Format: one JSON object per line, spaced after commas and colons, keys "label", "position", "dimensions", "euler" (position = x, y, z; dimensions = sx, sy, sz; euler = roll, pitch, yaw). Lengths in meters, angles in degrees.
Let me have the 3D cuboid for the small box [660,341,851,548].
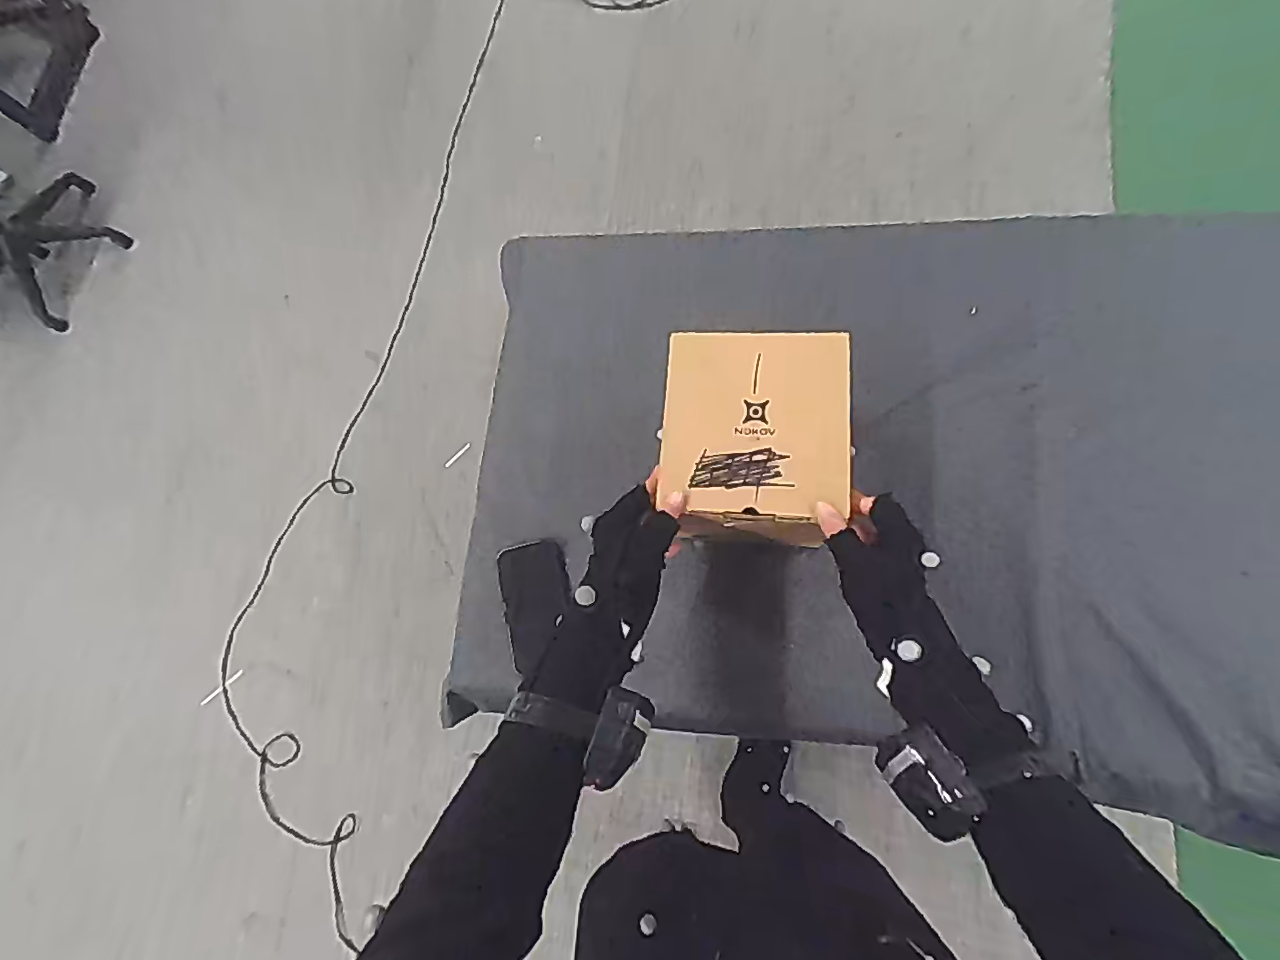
{"label": "small box", "position": [0.120, -0.027, 0.568], "dimensions": [0.168, 0.176, 0.179], "euler": [3, 75, 10]}
